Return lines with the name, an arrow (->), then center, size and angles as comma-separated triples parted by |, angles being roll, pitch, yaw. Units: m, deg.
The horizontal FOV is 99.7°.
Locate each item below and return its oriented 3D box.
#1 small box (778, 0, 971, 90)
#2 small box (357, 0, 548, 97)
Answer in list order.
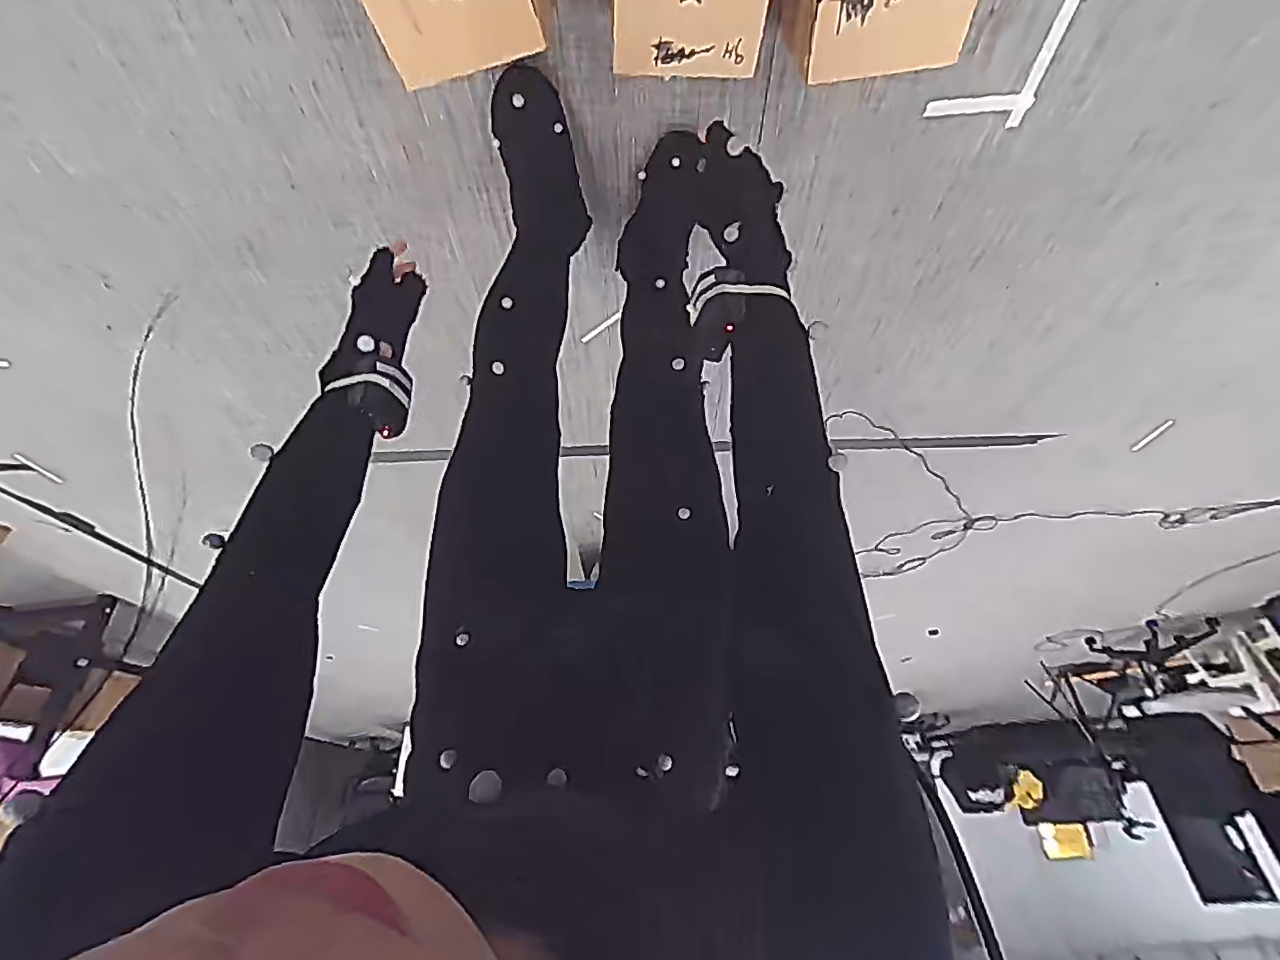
small box -> 0.263, -0.580, 0.614 | 0.179, 0.176, 0.168 | -5, 147, 3
small box -> -0.209, -0.571, 0.596 | 0.179, 0.176, 0.168 | -8, 146, 11
